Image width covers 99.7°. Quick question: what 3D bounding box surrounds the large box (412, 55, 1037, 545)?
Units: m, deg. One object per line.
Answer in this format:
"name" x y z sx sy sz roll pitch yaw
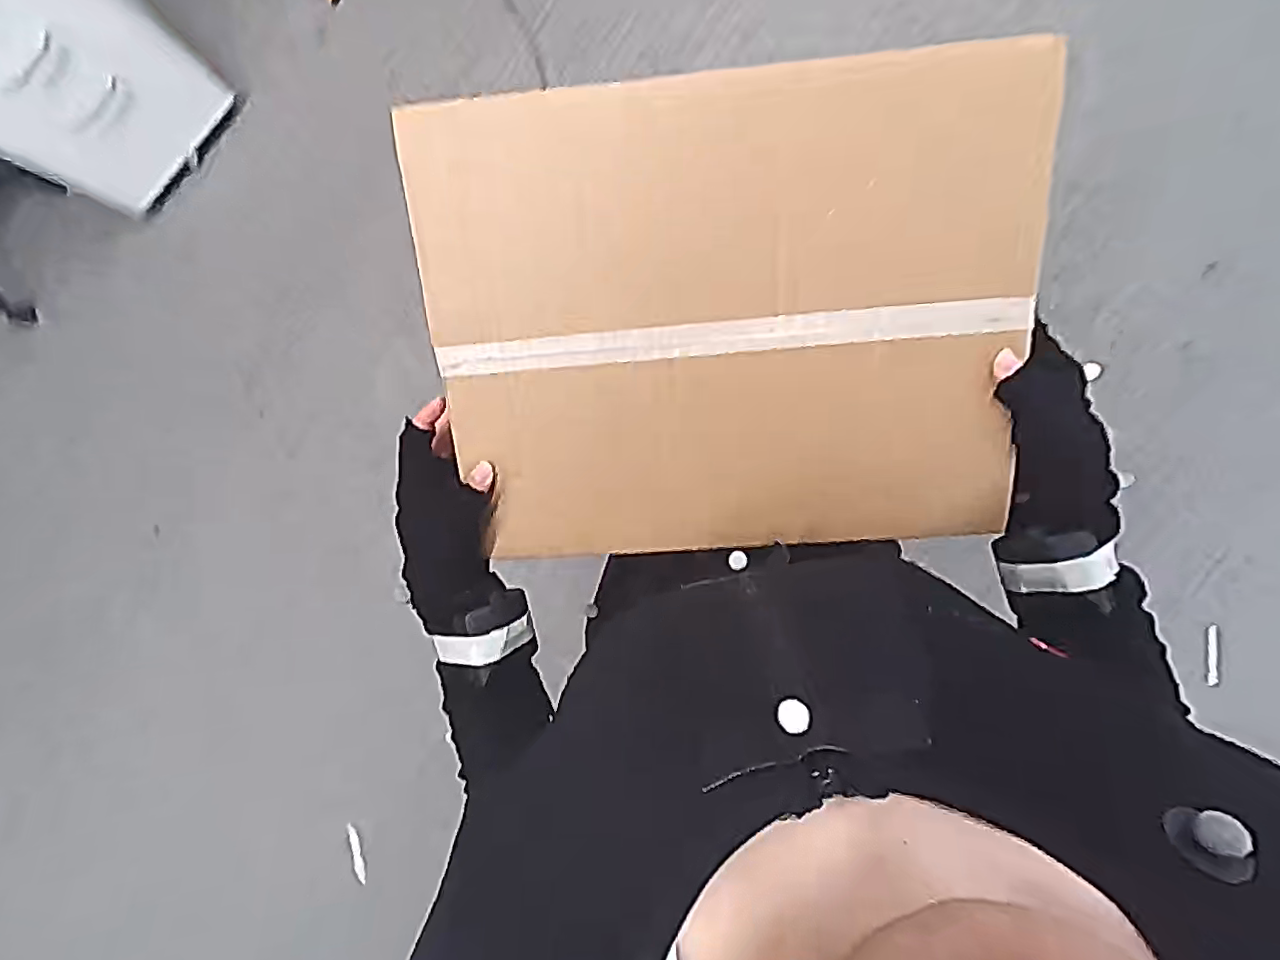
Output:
"large box" 0.061 -0.146 0.527 0.408 0.320 0.320 -2 108 3
